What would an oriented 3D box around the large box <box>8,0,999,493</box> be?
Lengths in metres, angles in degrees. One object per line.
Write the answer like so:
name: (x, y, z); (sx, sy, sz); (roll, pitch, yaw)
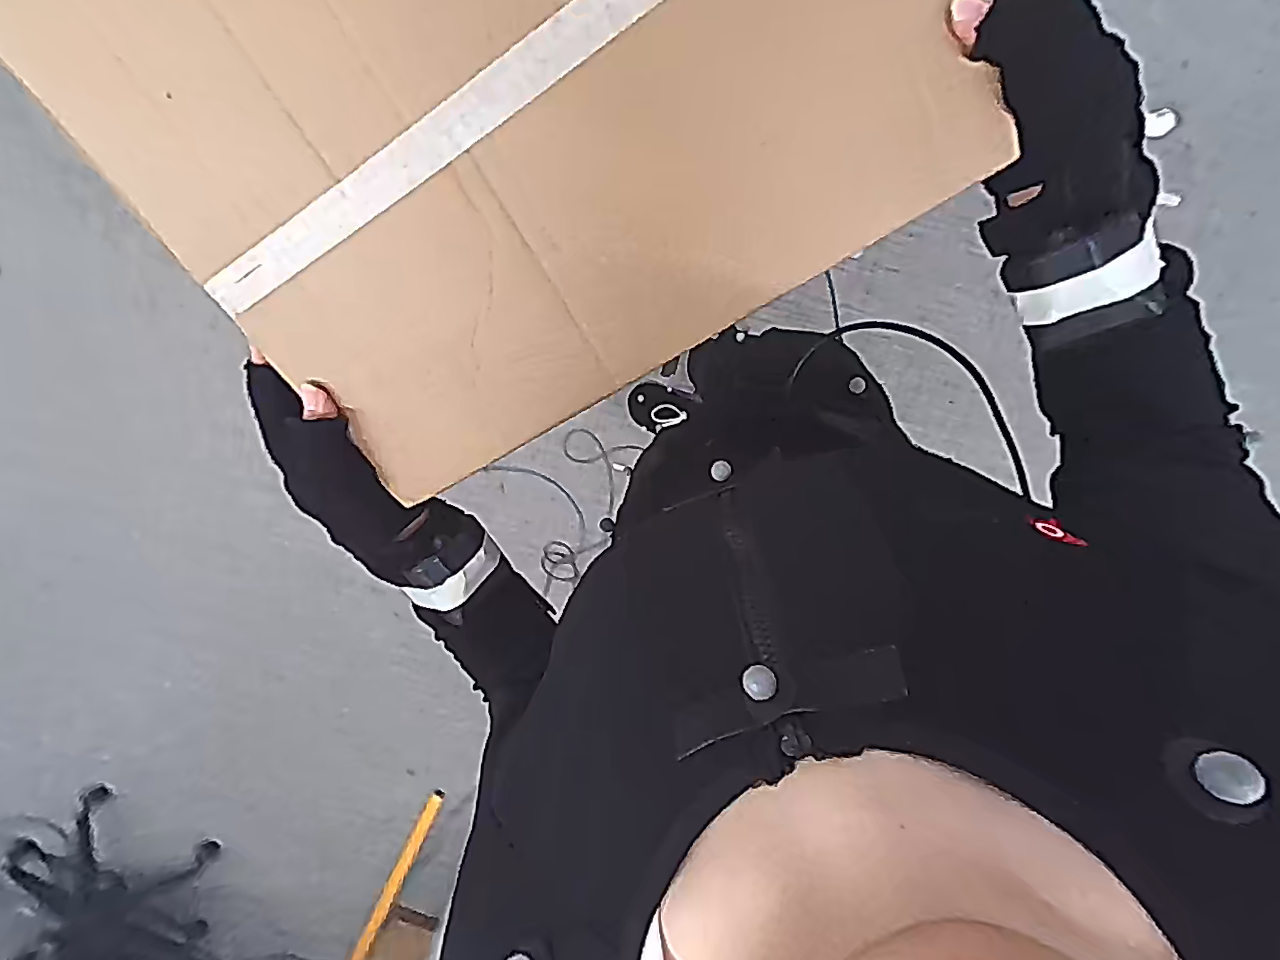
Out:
large box: (-0.053, -0.263, 0.401); (0.408, 0.320, 0.320); (-27, 113, 12)
